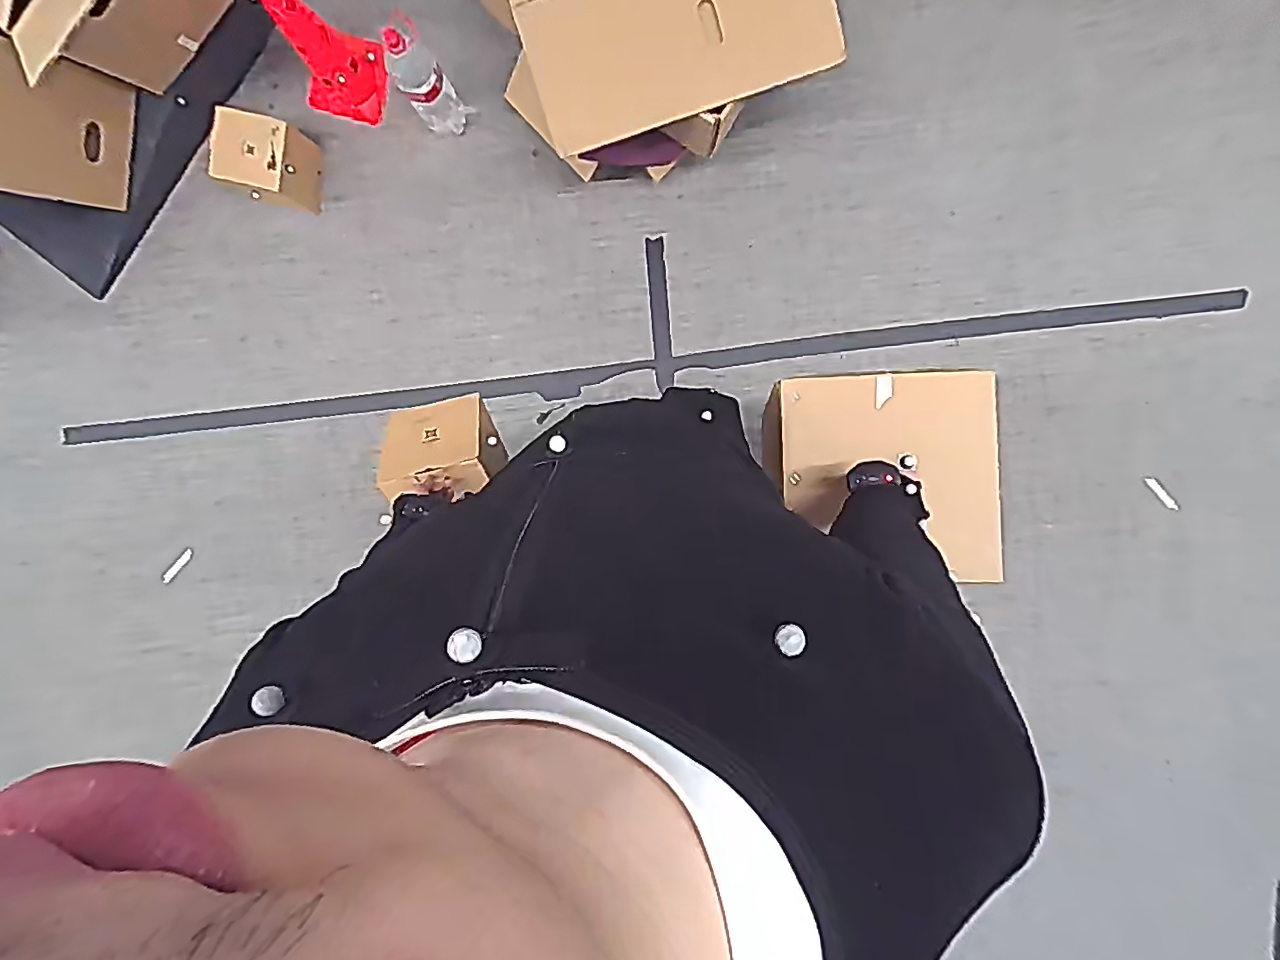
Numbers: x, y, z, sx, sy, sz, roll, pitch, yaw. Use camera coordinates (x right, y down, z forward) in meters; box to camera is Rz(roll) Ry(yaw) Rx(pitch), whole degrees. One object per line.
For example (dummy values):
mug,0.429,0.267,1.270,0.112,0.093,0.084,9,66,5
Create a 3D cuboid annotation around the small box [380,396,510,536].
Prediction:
small box,-0.338,-0.018,0.972,0.168,0.179,0.176,-13,137,-2
